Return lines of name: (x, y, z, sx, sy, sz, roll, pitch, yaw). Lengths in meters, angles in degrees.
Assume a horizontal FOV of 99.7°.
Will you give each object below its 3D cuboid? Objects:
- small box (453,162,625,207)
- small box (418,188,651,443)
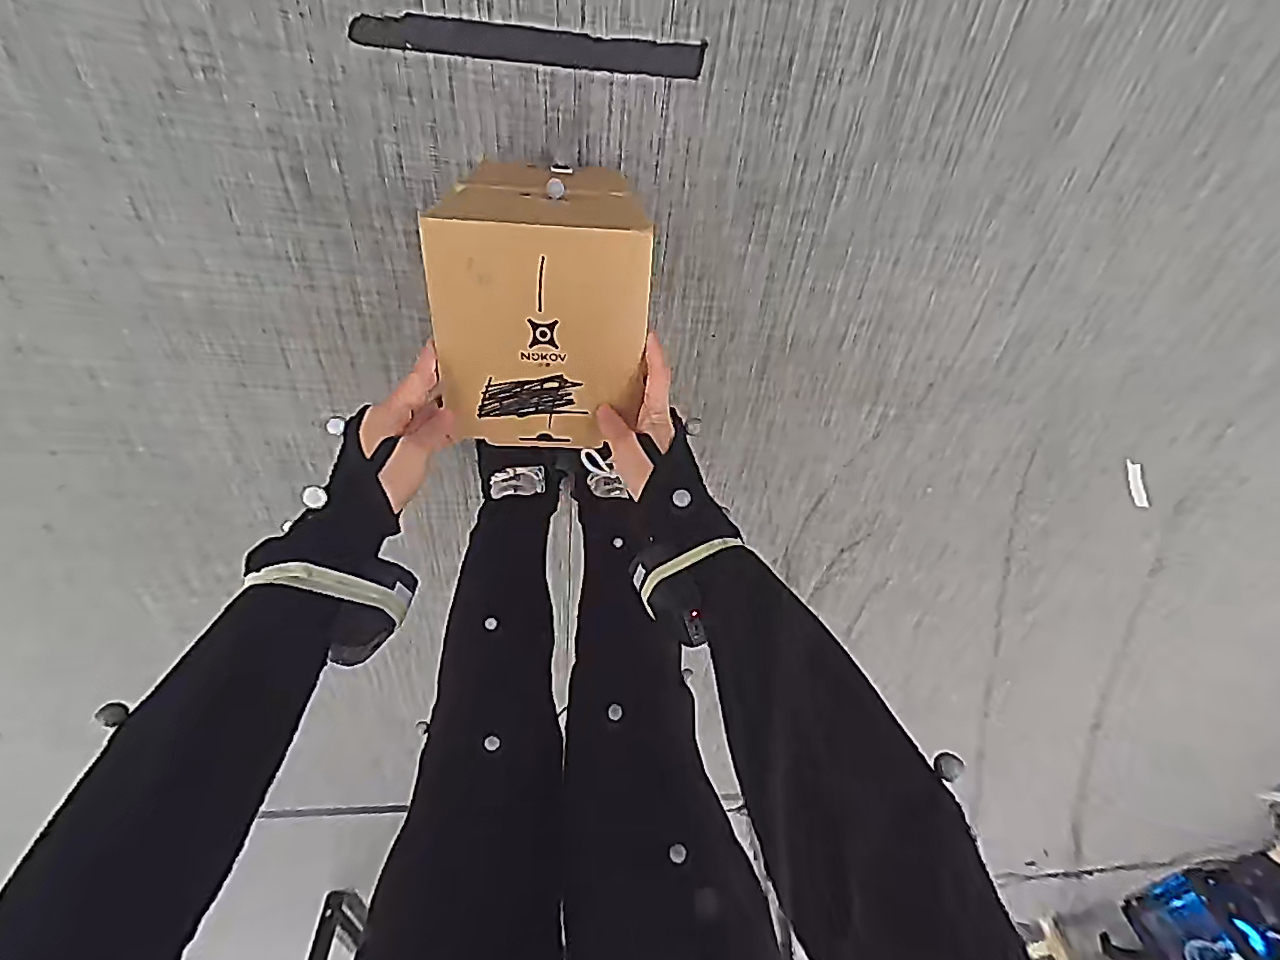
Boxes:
small box: (-0.106, -0.253, 0.626, 0.168, 0.176, 0.179, -1, 127, -6)
small box: (-0.085, -0.152, 0.493, 0.168, 0.176, 0.179, 1, 124, -7)
